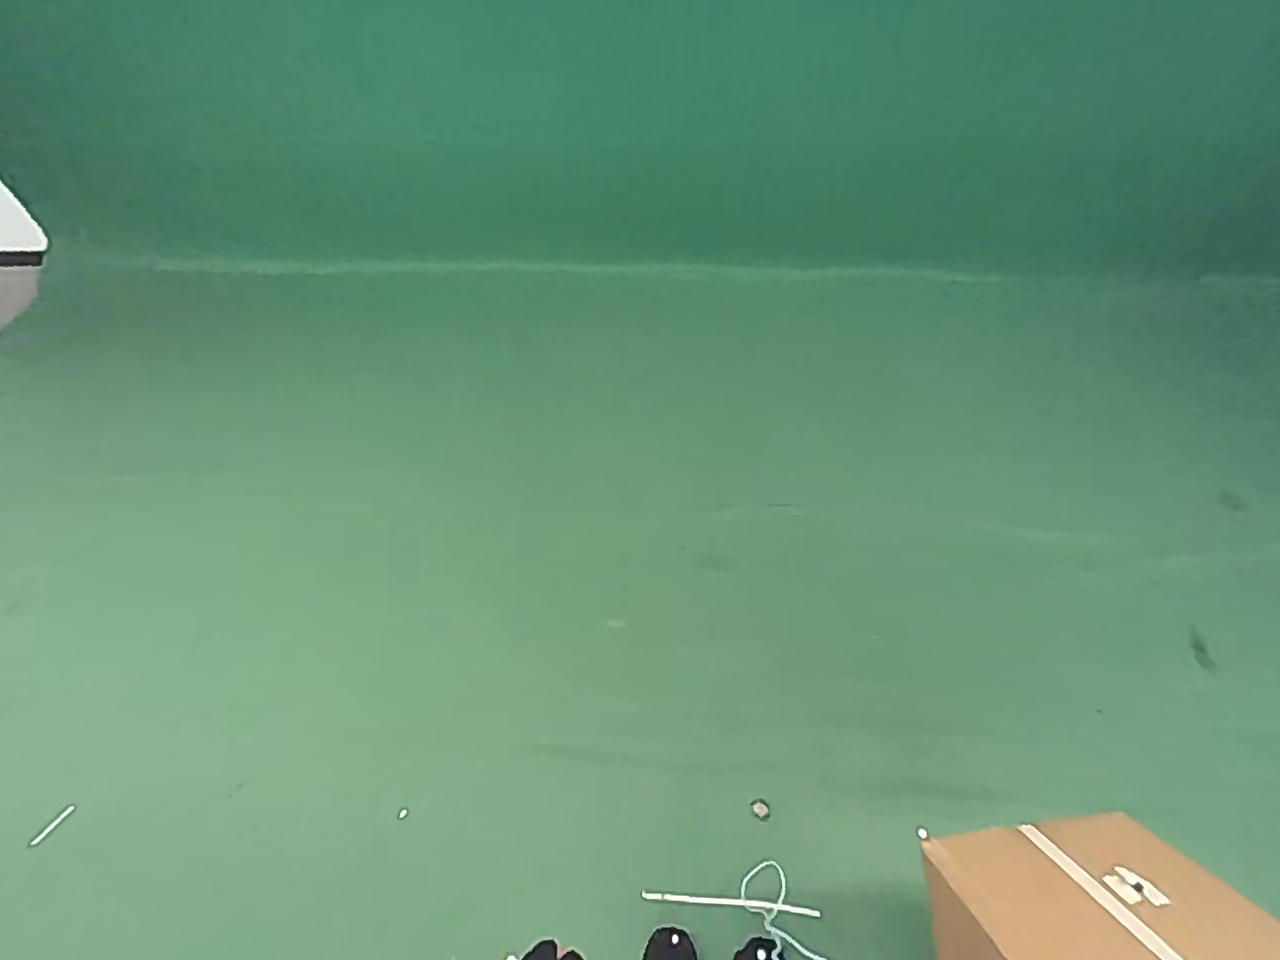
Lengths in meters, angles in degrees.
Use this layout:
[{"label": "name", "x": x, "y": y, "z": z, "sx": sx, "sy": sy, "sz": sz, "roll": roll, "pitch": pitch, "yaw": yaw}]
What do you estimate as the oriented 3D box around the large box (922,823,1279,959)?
[{"label": "large box", "x": 0.595, "y": 0.684, "z": 0.611, "sx": 0.320, "sy": 0.408, "sz": 0.320, "roll": -8, "pitch": 90, "yaw": 0}]
